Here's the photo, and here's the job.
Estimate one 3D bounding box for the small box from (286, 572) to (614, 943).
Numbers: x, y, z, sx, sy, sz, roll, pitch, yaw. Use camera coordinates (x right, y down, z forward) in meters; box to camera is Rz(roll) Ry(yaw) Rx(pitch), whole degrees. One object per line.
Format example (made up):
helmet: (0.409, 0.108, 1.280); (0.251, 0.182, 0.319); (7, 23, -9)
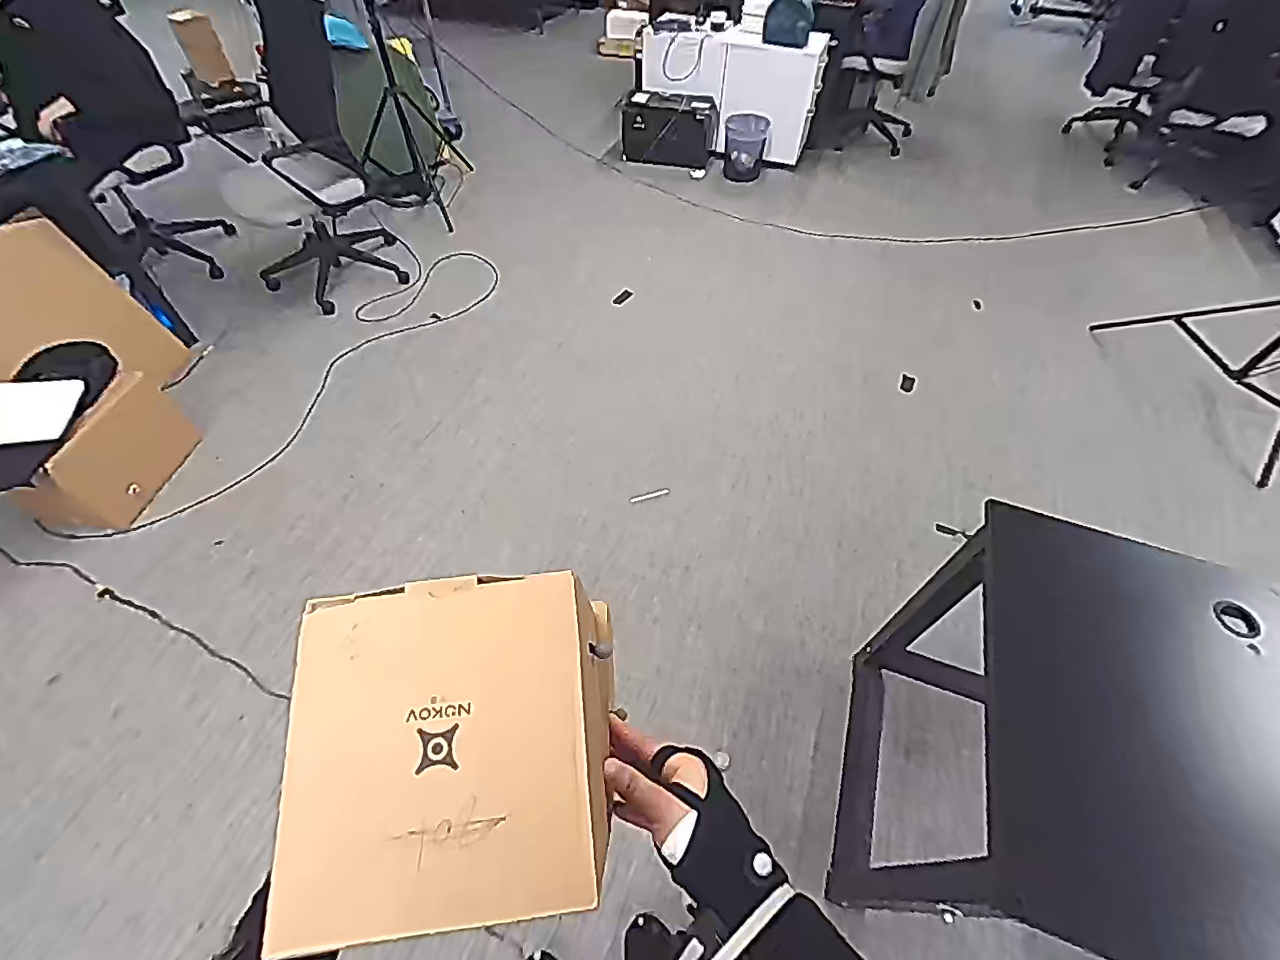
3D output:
small box: (-0.109, 0.176, 0.383); (0.168, 0.176, 0.179); (-7, 69, -3)
